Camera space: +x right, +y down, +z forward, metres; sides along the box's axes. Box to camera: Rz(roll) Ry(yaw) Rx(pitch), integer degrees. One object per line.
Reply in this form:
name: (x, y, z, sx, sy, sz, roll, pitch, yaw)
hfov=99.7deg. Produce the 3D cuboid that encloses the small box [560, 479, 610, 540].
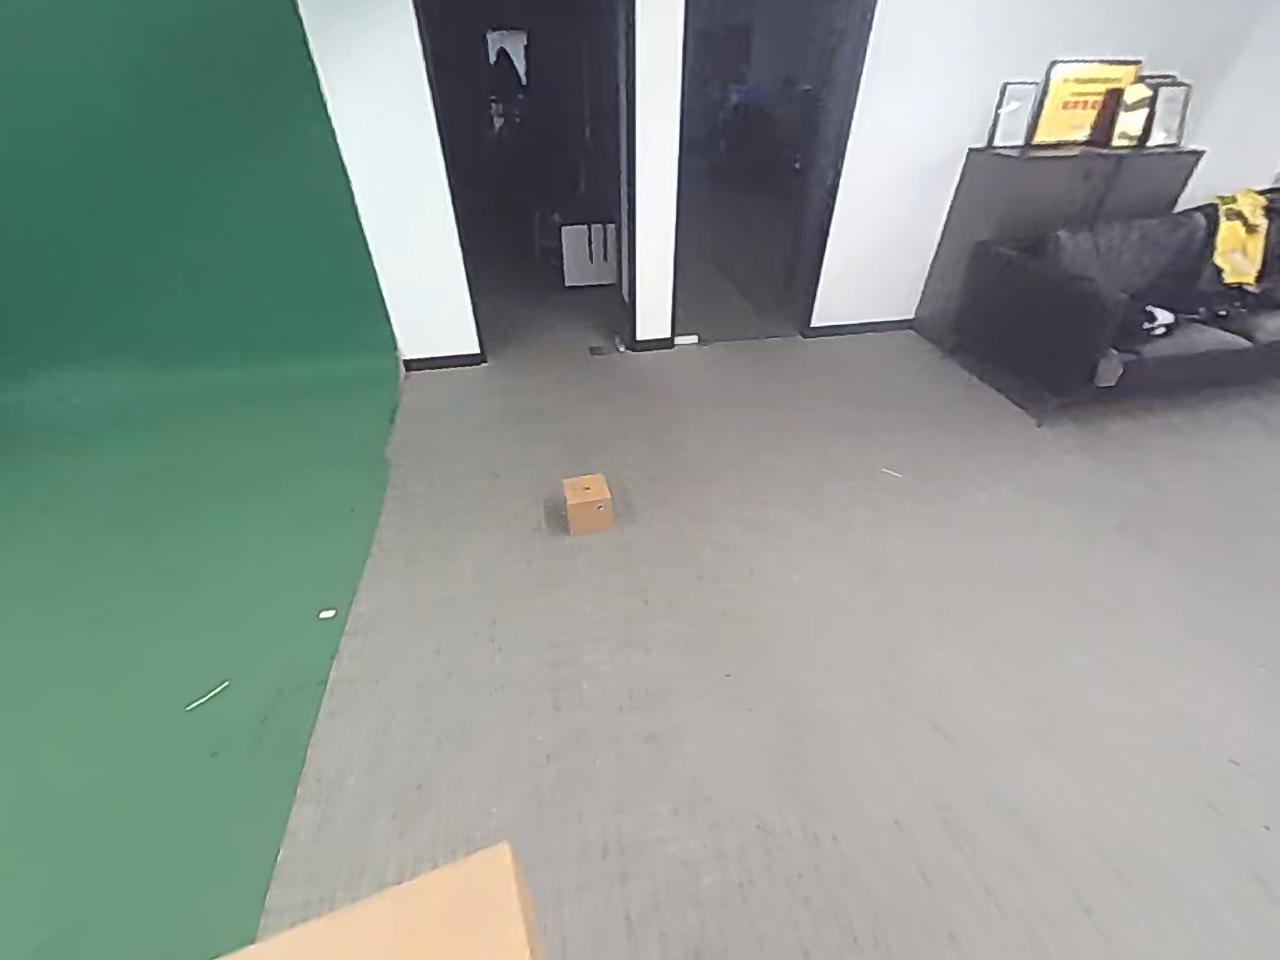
small box: (-0.221, 0.122, 2.194, 0.179, 0.176, 0.168, -10, 39, -12)
